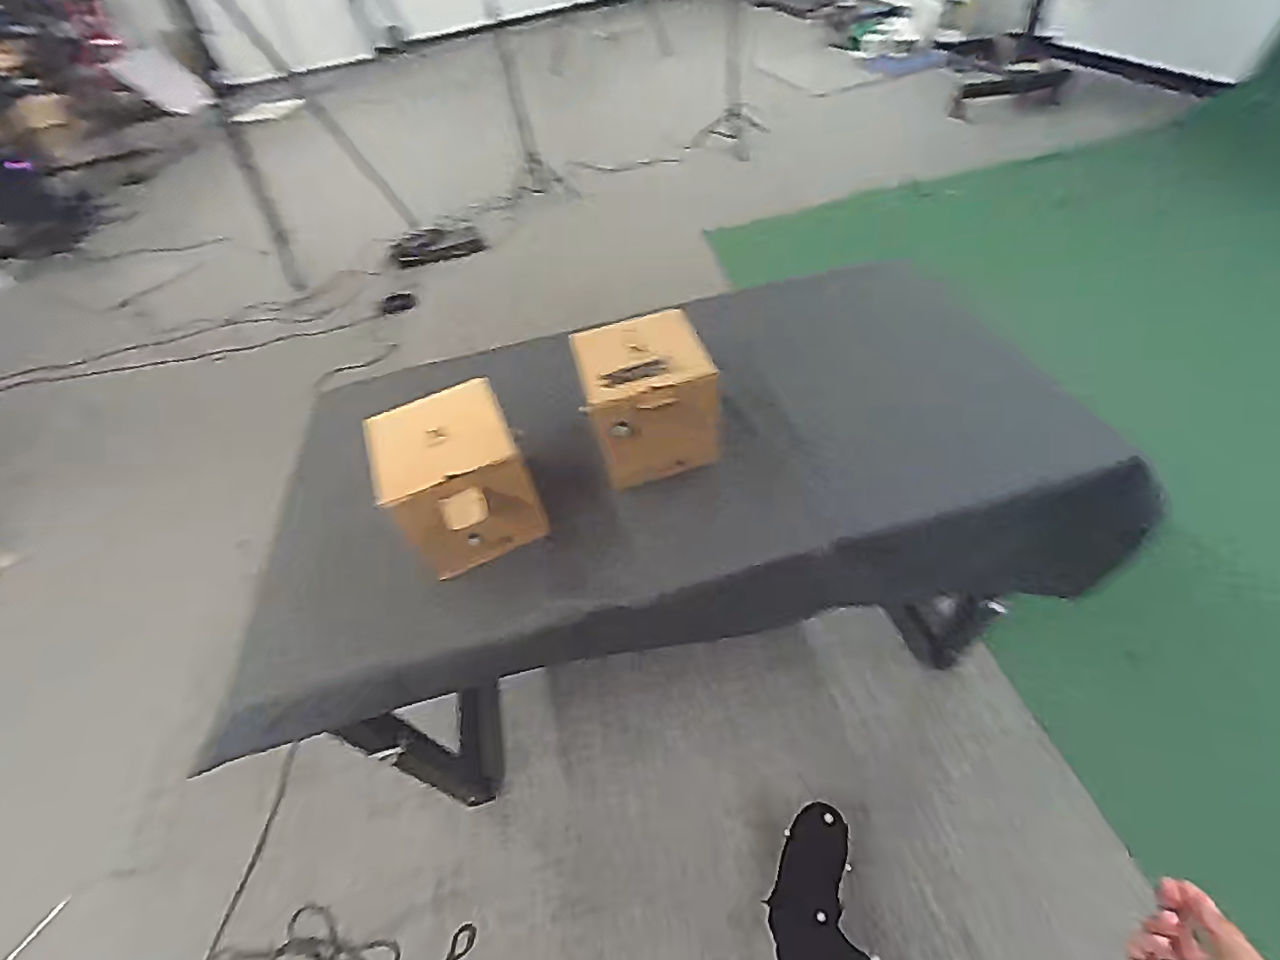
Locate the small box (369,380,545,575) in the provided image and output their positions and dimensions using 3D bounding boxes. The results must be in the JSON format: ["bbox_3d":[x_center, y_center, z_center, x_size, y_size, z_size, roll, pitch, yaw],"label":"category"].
[{"bbox_3d":[-0.248,-0.003,0.748,0.168,0.176,0.179,-24,50,-11],"label":"small box"}]
